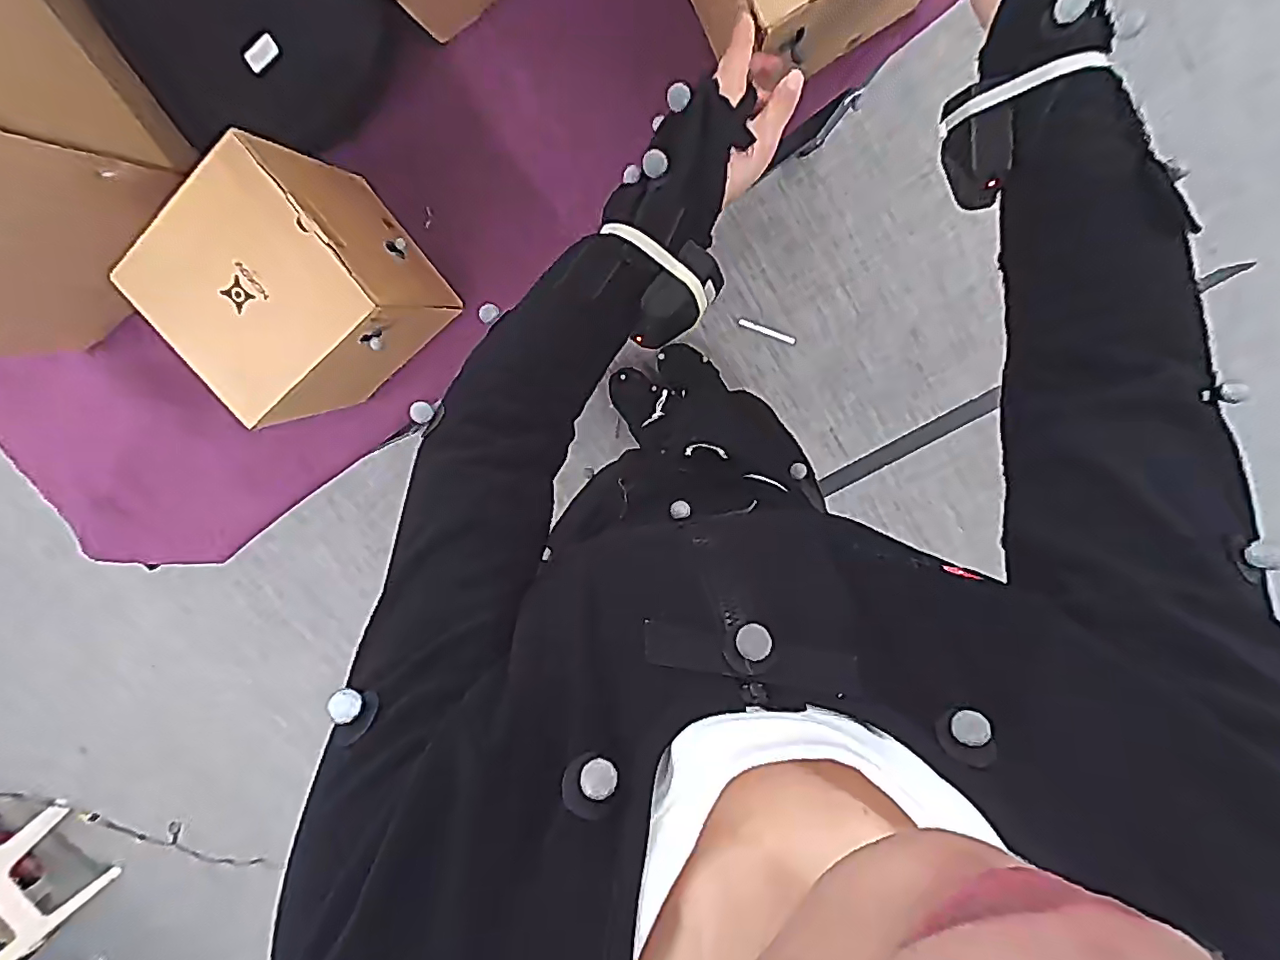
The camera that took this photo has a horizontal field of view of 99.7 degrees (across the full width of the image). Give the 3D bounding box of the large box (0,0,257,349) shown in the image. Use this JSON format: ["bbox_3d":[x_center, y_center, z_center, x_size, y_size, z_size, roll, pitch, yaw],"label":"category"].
[{"bbox_3d":[-0.651,-0.351,0.431,0.320,0.320,0.408,-32,105,15],"label":"large box"}]
